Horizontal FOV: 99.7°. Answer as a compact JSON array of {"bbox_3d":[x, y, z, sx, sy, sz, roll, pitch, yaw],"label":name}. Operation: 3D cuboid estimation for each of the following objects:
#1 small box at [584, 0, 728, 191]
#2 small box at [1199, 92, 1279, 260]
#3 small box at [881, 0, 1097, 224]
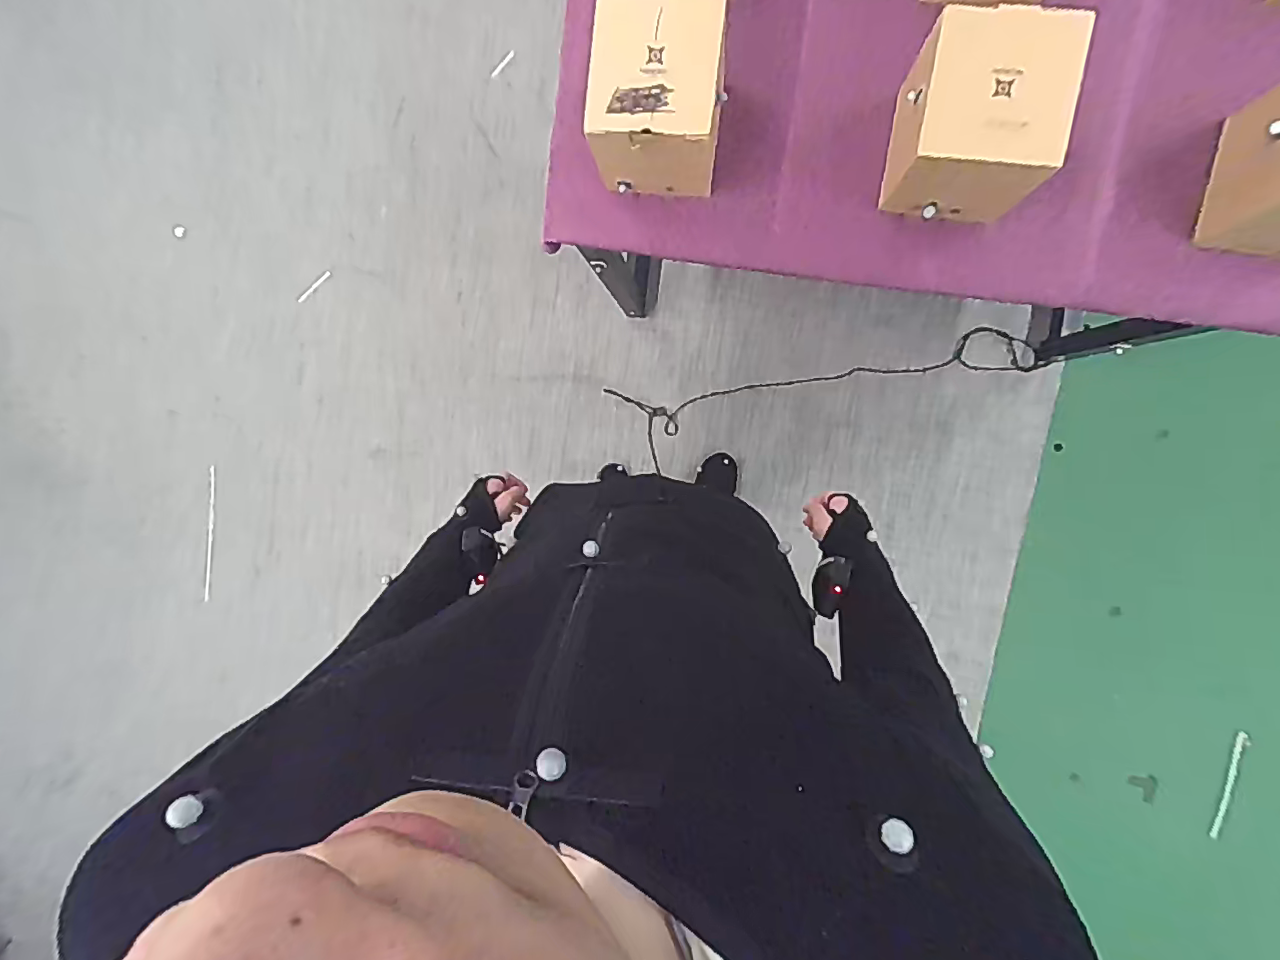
[{"bbox_3d":[0.028,-0.527,0.749,0.168,0.176,0.179,7,94,6],"label":"small box"},{"bbox_3d":[0.856,-0.391,0.661,0.168,0.176,0.179,12,94,7],"label":"small box"},{"bbox_3d":[0.436,-0.466,0.708,0.168,0.176,0.179,10,96,7],"label":"small box"}]
